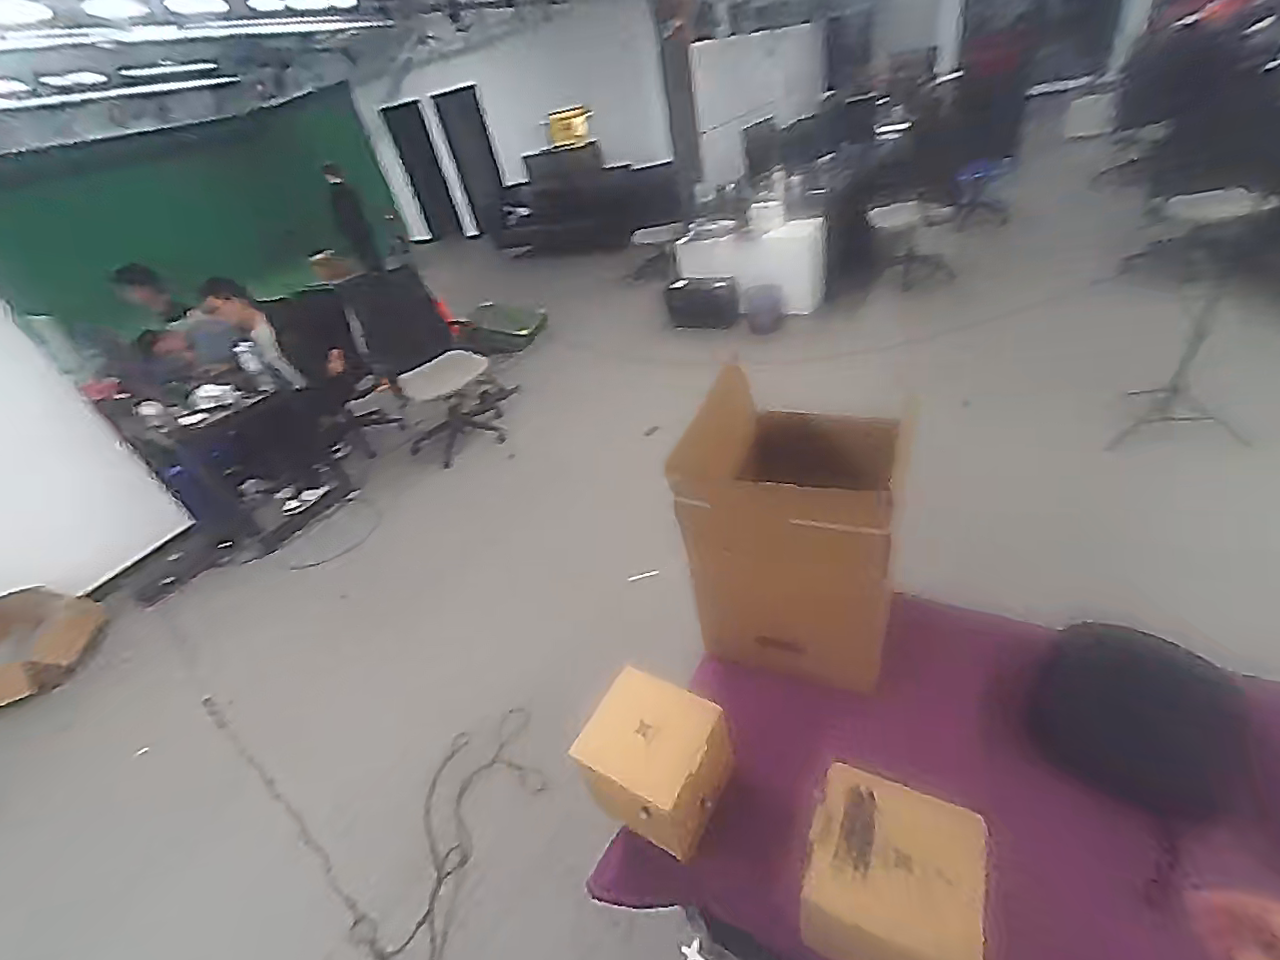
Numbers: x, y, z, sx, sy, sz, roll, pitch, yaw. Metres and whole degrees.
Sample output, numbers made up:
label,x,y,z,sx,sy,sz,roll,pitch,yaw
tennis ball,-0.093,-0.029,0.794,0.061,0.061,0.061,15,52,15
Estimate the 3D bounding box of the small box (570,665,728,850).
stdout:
label,x,y,z,sx,sy,sz,roll,pitch,yaw
small box,0.023,0.428,0.839,0.179,0.176,0.168,13,43,30
